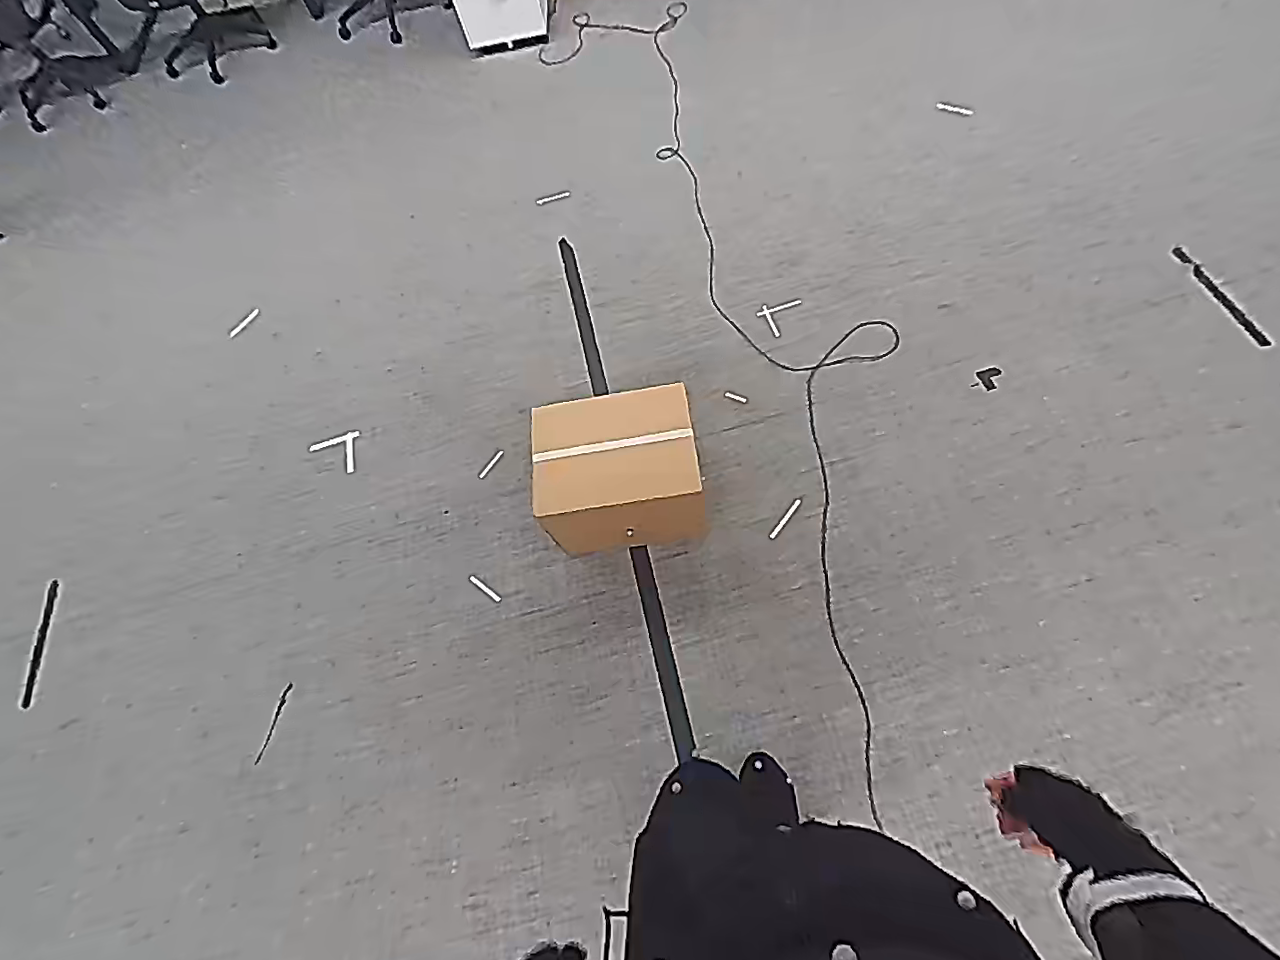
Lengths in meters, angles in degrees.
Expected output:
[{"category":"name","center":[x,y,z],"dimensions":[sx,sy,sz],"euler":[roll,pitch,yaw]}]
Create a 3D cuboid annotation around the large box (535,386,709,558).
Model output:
[{"category":"large box","center":[-0.041,-0.008,1.452],"dimensions":[0.408,0.320,0.320],"euler":[-9,64,4]}]
